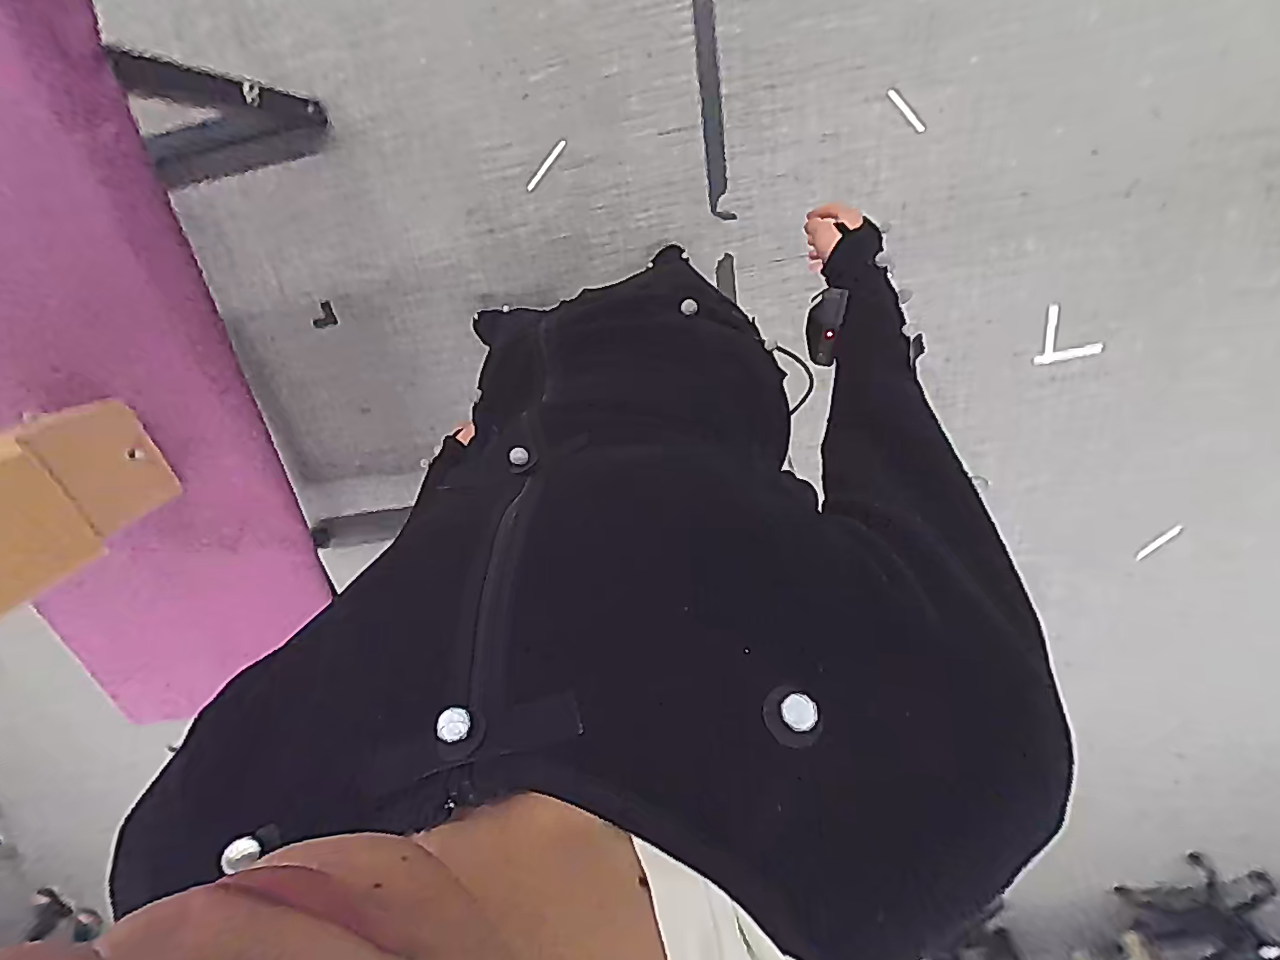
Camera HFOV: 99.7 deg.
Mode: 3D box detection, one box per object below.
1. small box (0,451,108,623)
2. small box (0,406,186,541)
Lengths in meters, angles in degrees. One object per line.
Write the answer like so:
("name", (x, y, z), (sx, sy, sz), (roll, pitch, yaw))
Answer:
("small box", (-0.888, 0.083, 0.716), (0.168, 0.176, 0.179), (-10, 116, 9))
("small box", (-0.892, -0.007, 0.853), (0.168, 0.176, 0.179), (-10, 116, 10))
